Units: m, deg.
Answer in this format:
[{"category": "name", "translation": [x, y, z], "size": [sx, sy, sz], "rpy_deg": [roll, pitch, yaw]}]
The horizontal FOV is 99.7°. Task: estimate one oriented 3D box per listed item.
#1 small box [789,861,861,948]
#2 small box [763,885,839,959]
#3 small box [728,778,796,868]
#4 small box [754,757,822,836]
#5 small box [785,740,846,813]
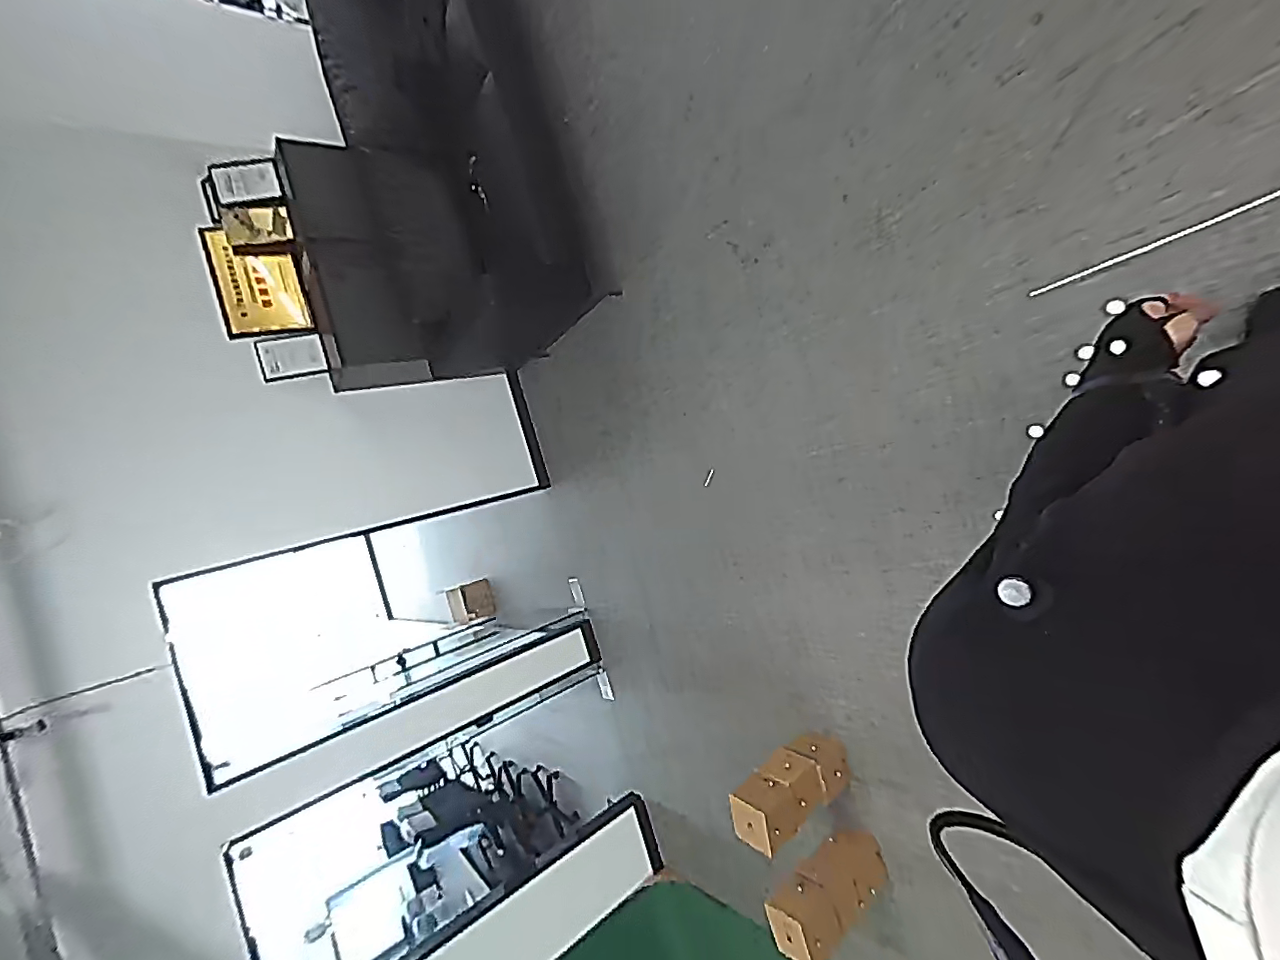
[{"category": "small box", "translation": [0.691, 1.557, 1.999], "size": [0.179, 0.176, 0.168], "rpy_deg": [-22, 83, 54]}, {"category": "small box", "translation": [0.567, 1.582, 1.892], "size": [0.168, 0.176, 0.179], "rpy_deg": [-20, 85, 53]}, {"category": "small box", "translation": [0.442, 1.222, 1.939], "size": [0.168, 0.176, 0.179], "rpy_deg": [-2, 100, 52]}, {"category": "small box", "translation": [0.561, 1.186, 2.045], "size": [0.168, 0.176, 0.179], "rpy_deg": [-9, 95, 53]}, {"category": "small box", "translation": [0.694, 1.162, 2.136], "size": [0.179, 0.176, 0.168], "rpy_deg": [-6, 96, 52]}]
